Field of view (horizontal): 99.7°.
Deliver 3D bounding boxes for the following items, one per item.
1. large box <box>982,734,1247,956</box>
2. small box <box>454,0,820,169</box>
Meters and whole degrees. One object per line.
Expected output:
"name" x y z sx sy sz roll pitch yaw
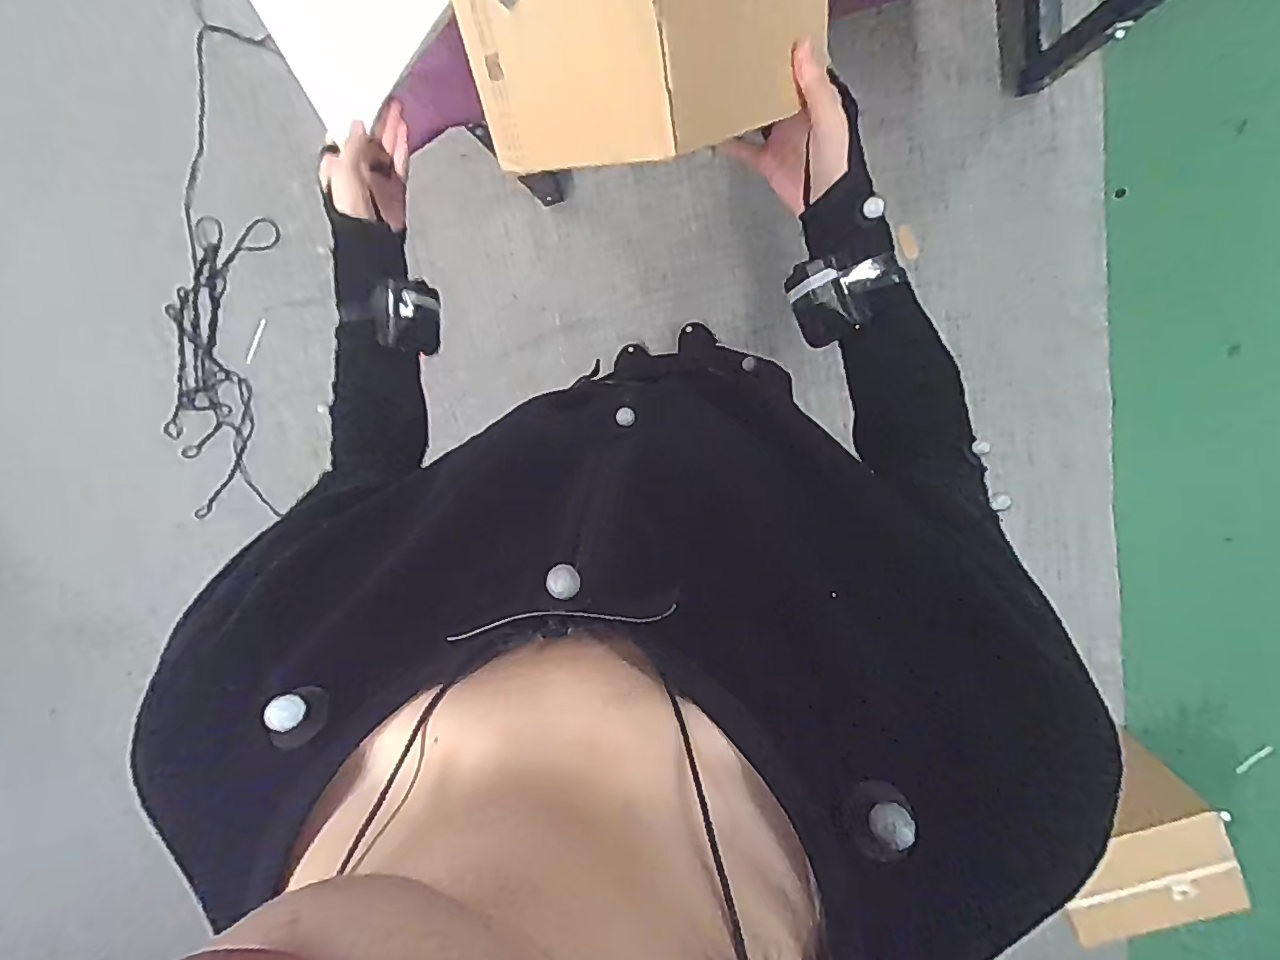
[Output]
"large box" 1.257 0.977 1.478 0.408 0.320 0.320 -25 100 9
"small box" 0.000 -0.313 0.350 0.176 0.179 0.168 24 139 39
